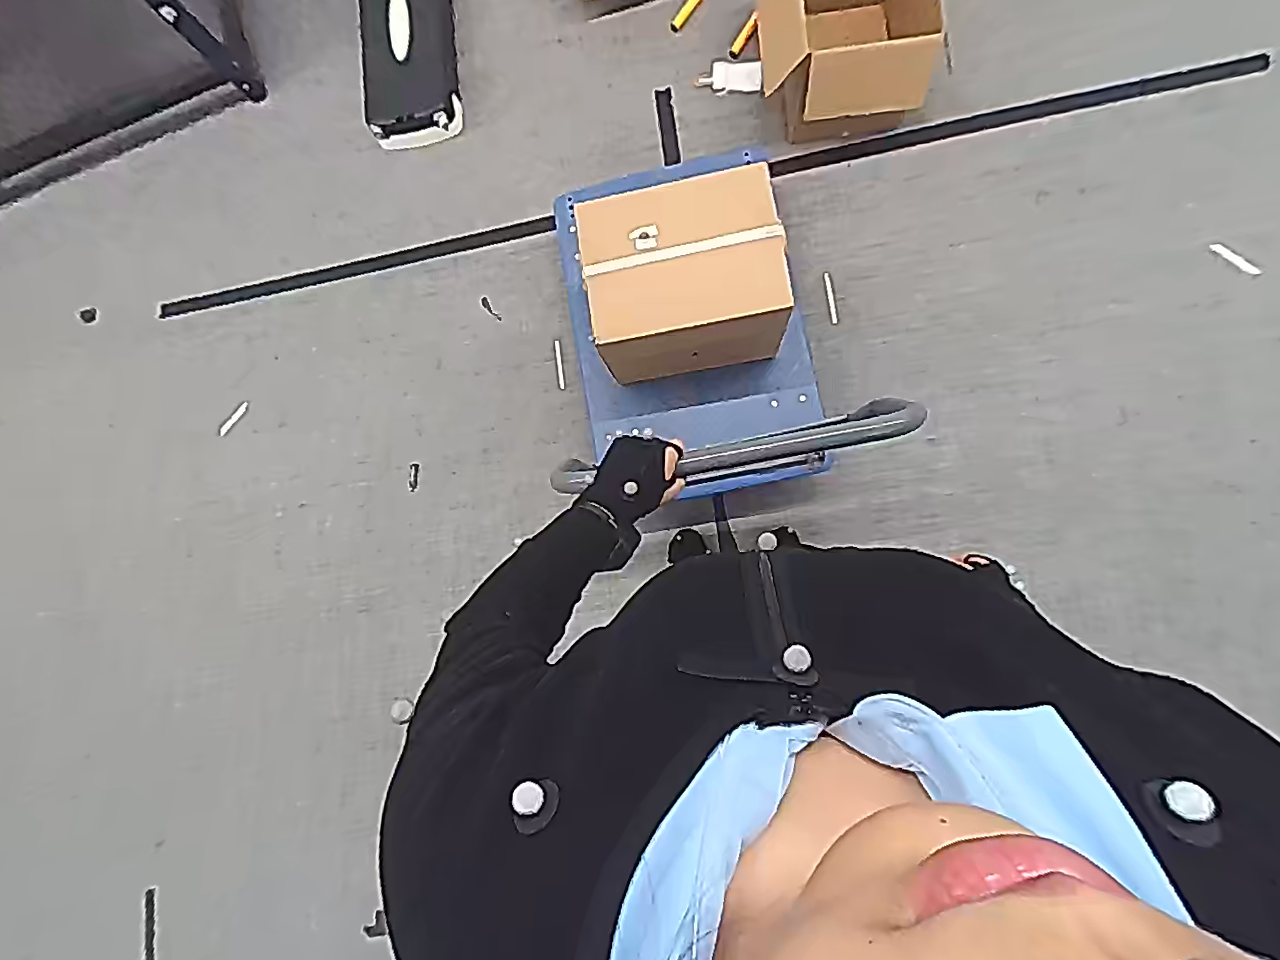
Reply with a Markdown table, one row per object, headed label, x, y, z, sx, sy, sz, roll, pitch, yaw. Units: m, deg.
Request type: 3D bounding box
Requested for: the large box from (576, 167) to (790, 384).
| label | x | y | z | sx | sy | sz | roll | pitch | yaw |
| --- | --- | --- | --- | --- | --- | --- | --- | --- | --- |
| large box | 0.102 | -0.442 | 1.254 | 0.408 | 0.320 | 0.320 | -10 | 82 | 7 |
